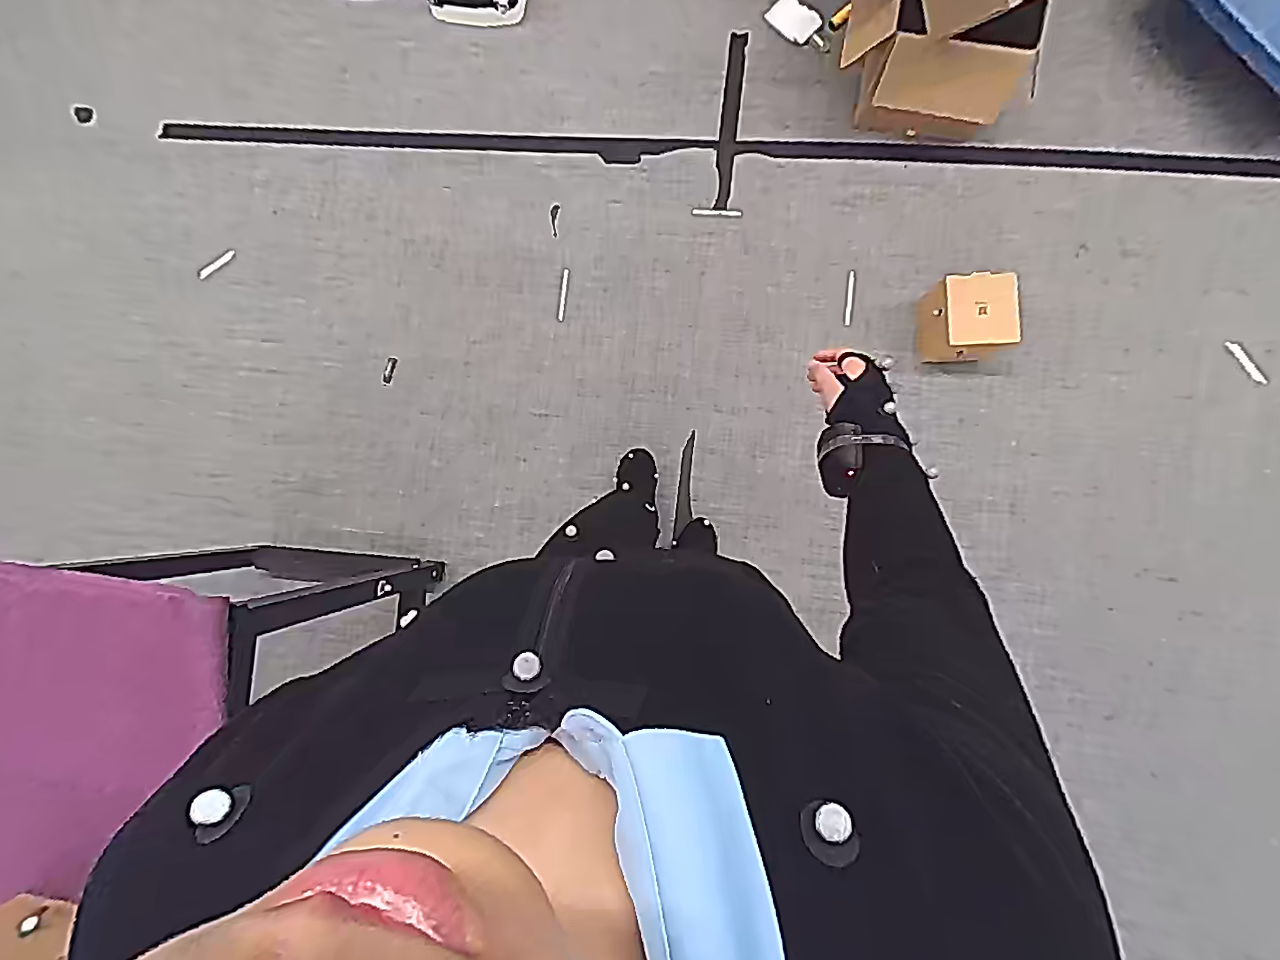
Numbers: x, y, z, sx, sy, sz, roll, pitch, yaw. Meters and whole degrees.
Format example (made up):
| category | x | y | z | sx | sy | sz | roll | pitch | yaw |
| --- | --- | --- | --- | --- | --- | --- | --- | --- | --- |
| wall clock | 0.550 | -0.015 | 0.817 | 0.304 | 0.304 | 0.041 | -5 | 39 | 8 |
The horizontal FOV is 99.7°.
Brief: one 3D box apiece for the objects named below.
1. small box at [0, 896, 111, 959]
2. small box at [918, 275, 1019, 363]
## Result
| category | x | y | z | sx | sy | sz | roll | pitch | yaw |
| --- | --- | --- | --- | --- | --- | --- | --- | --- | --- |
| small box | -0.874 | 0.717 | 0.723 | 0.168 | 0.176 | 0.179 | 8 | 87 | 5 |
| small box | 0.833 | -0.403 | 1.385 | 0.168 | 0.176 | 0.179 | -1 | 86 | 5 |
